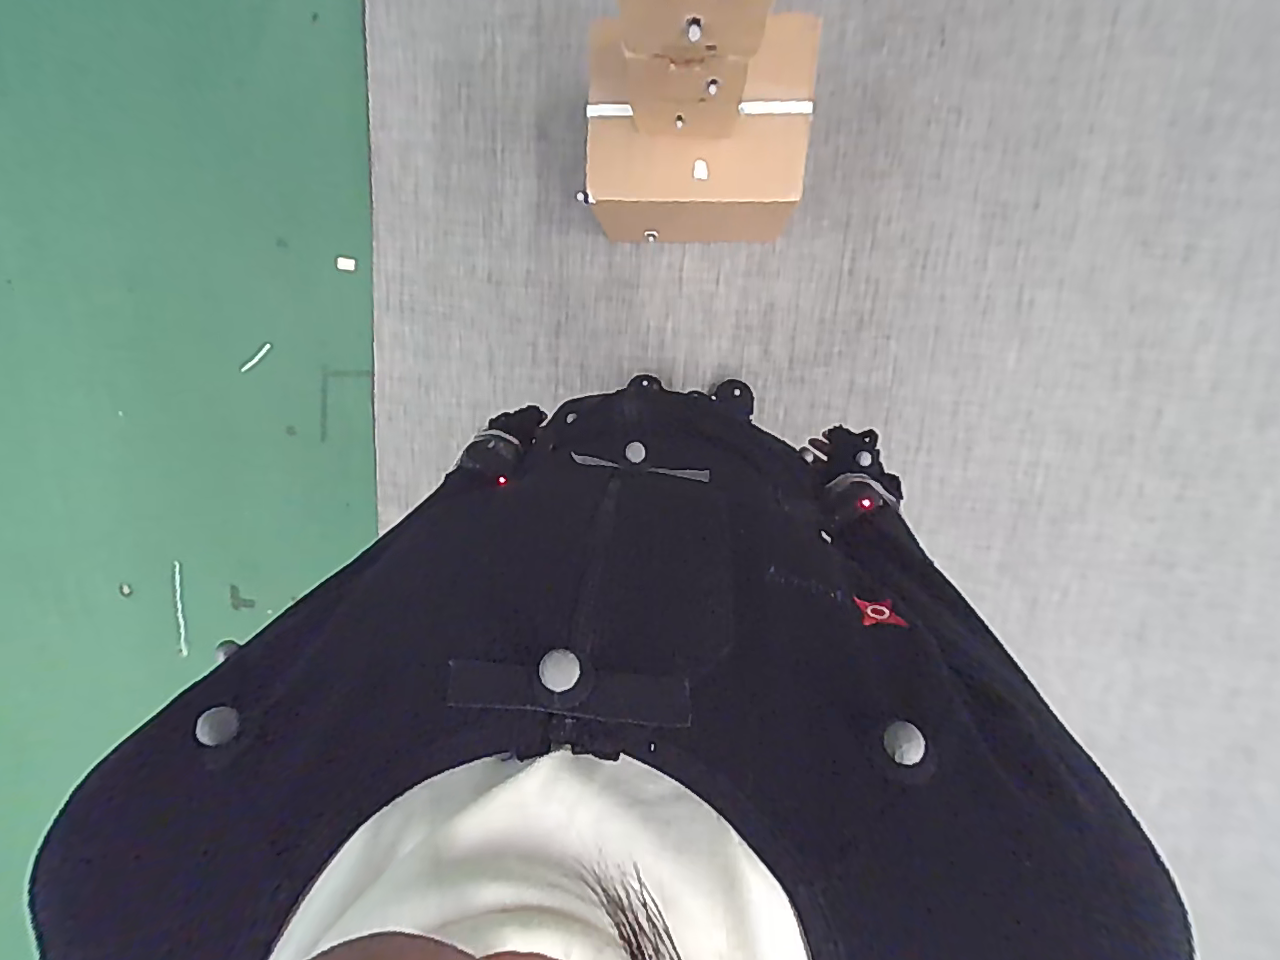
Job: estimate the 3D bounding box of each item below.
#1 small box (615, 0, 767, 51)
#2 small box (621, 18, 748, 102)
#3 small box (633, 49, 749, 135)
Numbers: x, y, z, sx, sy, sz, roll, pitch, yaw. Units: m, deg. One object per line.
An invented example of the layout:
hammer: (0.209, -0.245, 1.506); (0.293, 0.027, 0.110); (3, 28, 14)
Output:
small box: (0.062, -0.596, 0.582); (0.168, 0.176, 0.179); (4, 108, 5)
small box: (0.069, -0.643, 0.739); (0.168, 0.176, 0.179); (3, 106, 5)
small box: (0.086, -0.689, 0.893); (0.179, 0.176, 0.168); (3, 108, 6)
